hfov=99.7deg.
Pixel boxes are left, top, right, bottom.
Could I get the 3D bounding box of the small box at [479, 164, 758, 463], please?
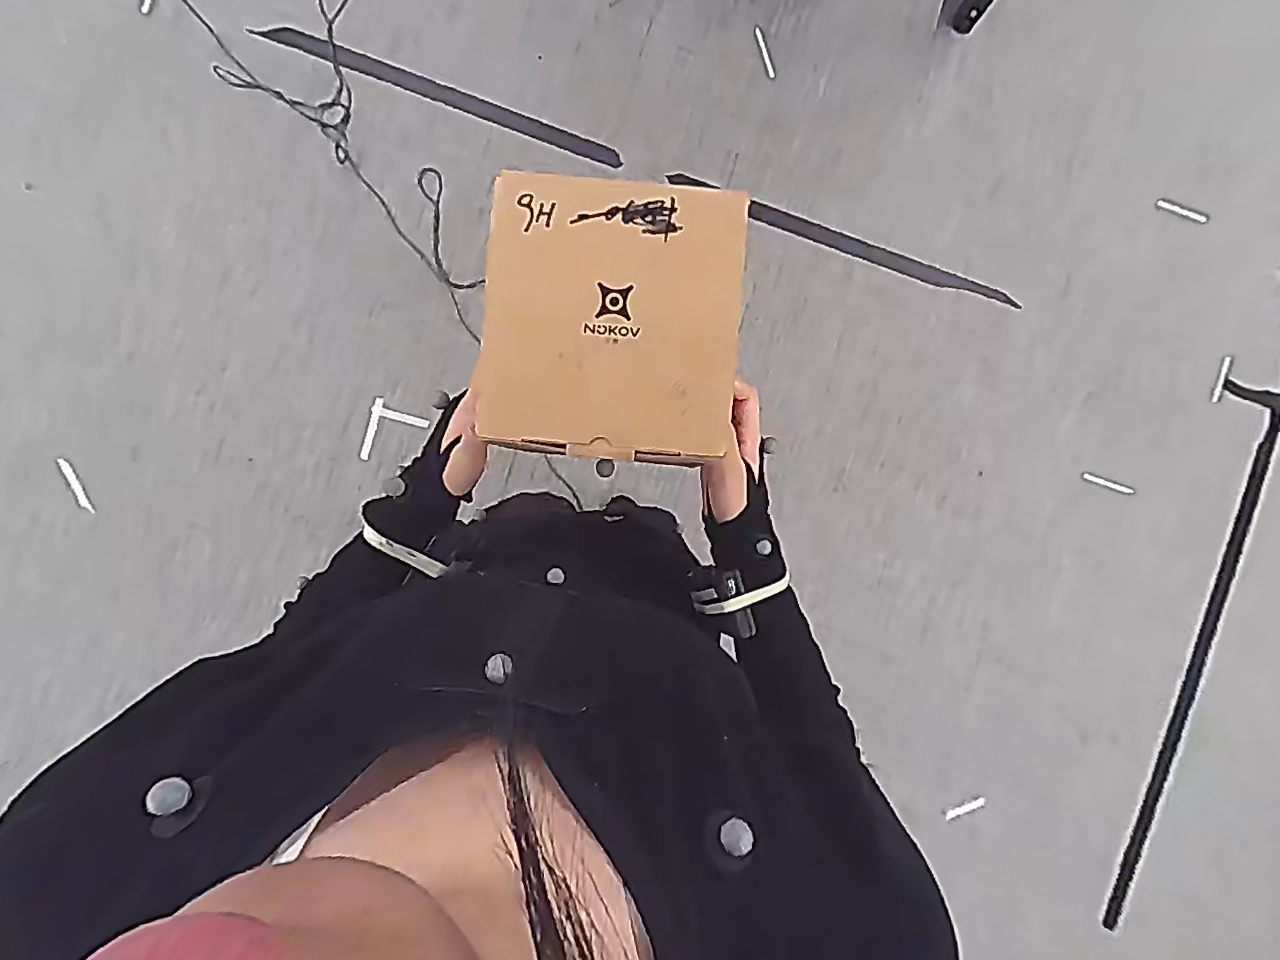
[{"bbox_3d":[-0.015,-0.106,0.420,0.168,0.176,0.179,5,91,-2],"label":"small box"}]
